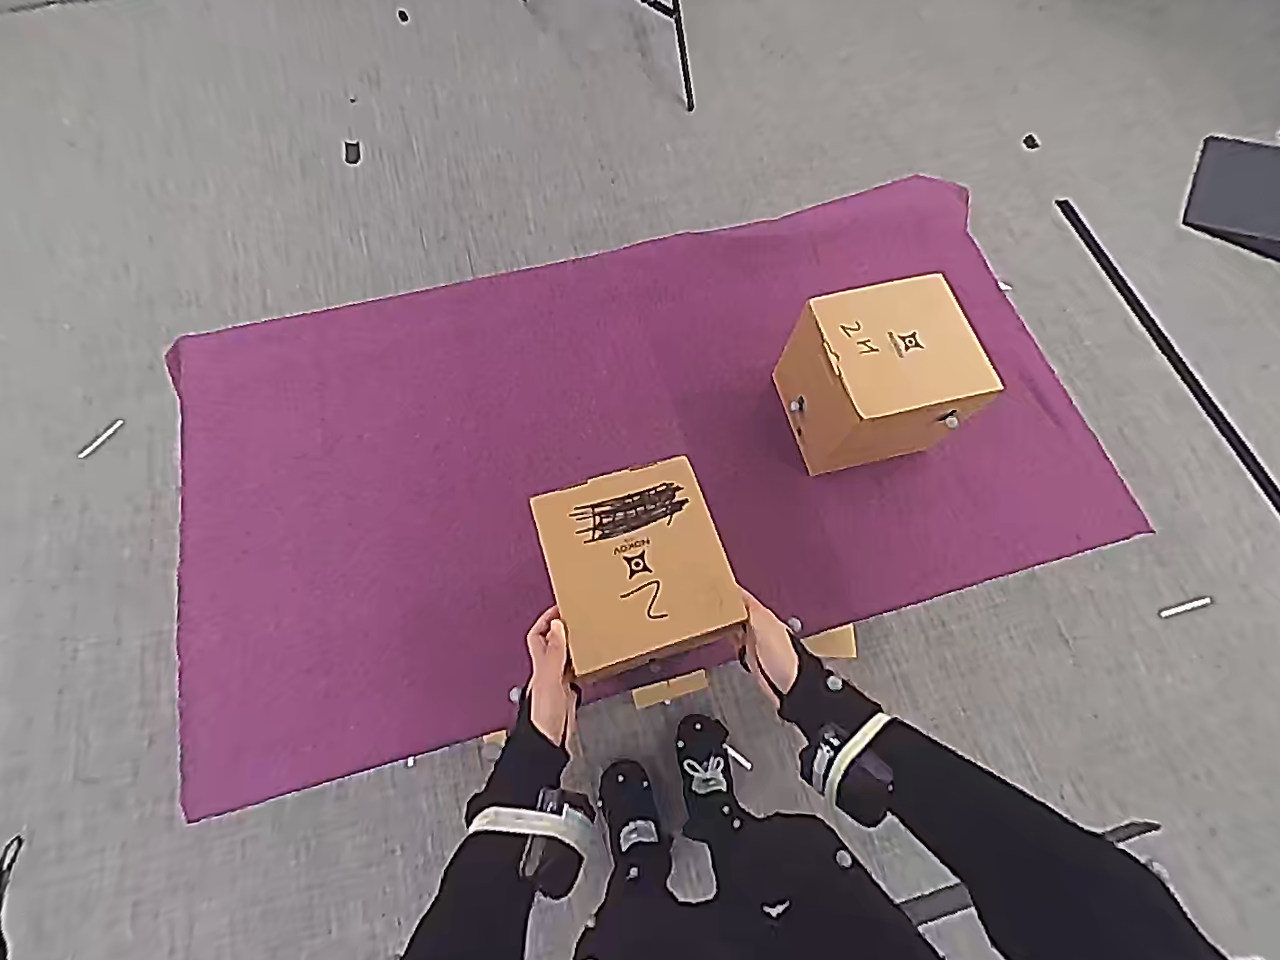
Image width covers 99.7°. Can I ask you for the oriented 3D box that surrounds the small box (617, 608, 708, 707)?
[{"bbox_3d":[0.044,0.413,1.257,0.168,0.176,0.179,-15,72,-7],"label":"small box"}]

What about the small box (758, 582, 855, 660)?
[{"bbox_3d":[0.391,0.340,1.295,0.179,0.176,0.168,1,70,0],"label":"small box"}]

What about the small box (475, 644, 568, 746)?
[{"bbox_3d":[-0.263,0.484,1.224,0.168,0.176,0.179,-12,69,-6],"label":"small box"}]

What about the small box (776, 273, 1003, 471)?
[{"bbox_3d":[0.297,-0.128,0.686,0.179,0.176,0.168,-13,70,-6],"label":"small box"}]
